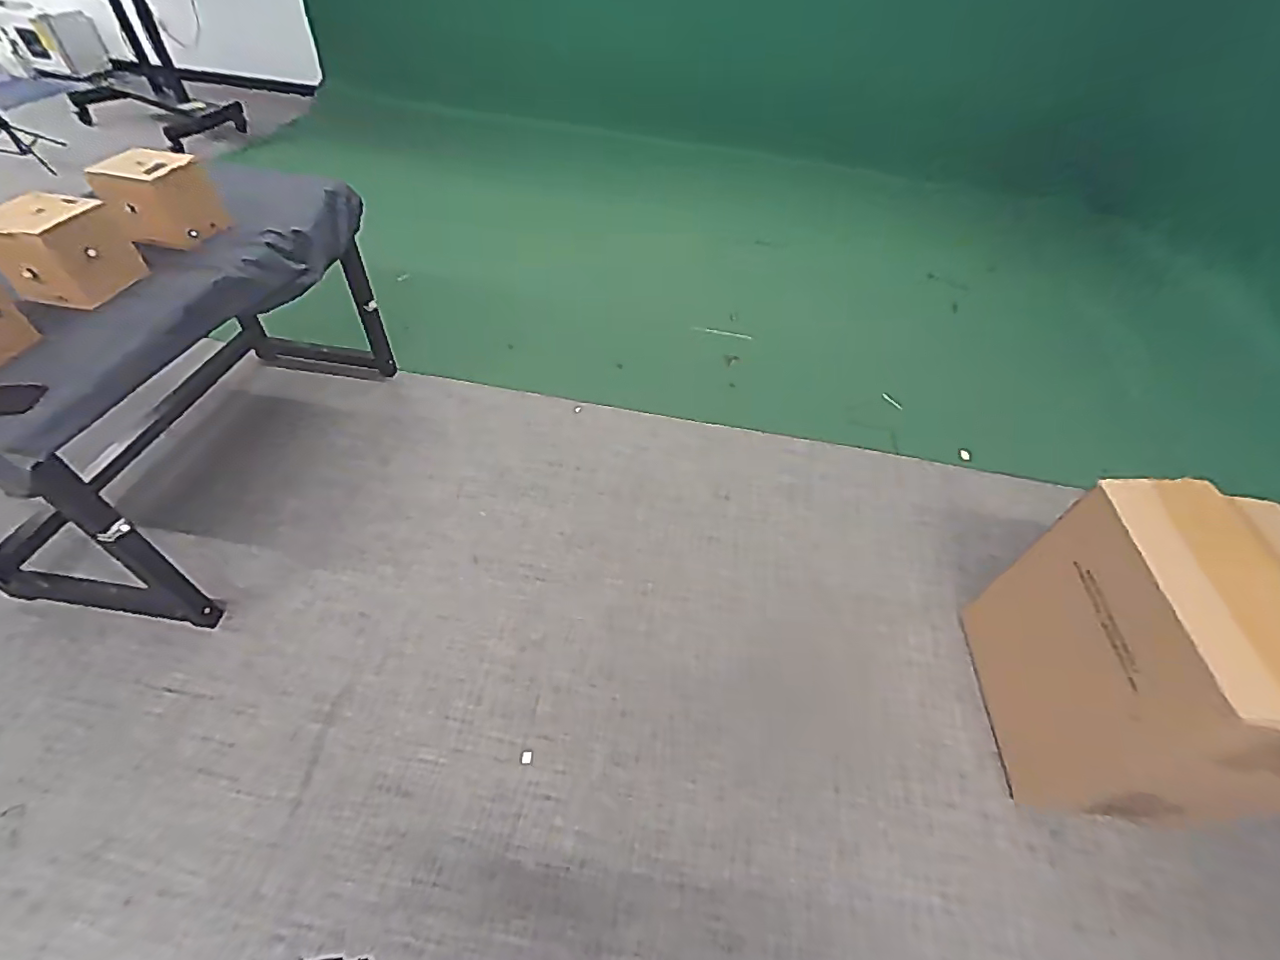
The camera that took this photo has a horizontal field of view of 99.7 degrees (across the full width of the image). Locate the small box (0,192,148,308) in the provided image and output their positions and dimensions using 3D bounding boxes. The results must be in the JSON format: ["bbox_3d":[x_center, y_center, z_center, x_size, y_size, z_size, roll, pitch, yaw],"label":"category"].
[{"bbox_3d":[-1.251,-0.500,1.184,0.168,0.176,0.179,9,49,2],"label":"small box"}]

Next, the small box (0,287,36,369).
[{"bbox_3d":[-1.301,-0.292,0.997,0.168,0.176,0.179,7,49,1],"label":"small box"}]

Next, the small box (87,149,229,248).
[{"bbox_3d":[-1.206,-0.710,1.372,0.179,0.176,0.168,10,48,4],"label":"small box"}]
